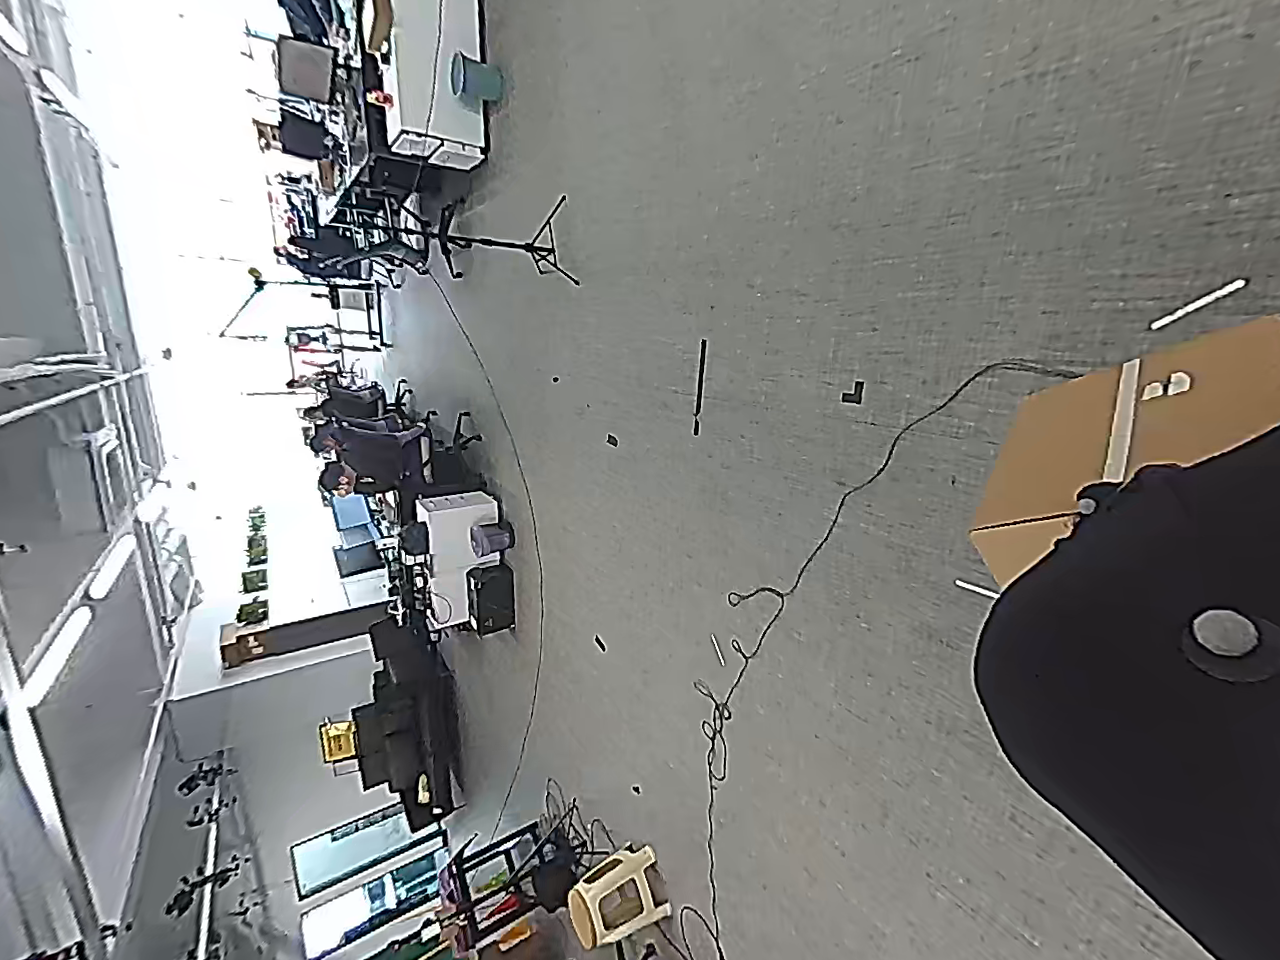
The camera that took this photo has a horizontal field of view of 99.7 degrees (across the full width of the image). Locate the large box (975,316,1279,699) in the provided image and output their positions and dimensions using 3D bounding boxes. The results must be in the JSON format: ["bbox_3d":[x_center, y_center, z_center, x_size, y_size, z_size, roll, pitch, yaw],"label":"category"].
[{"bbox_3d":[0.746,0.041,0.755,0.320,0.408,0.320,56,145,-8],"label":"large box"}]
